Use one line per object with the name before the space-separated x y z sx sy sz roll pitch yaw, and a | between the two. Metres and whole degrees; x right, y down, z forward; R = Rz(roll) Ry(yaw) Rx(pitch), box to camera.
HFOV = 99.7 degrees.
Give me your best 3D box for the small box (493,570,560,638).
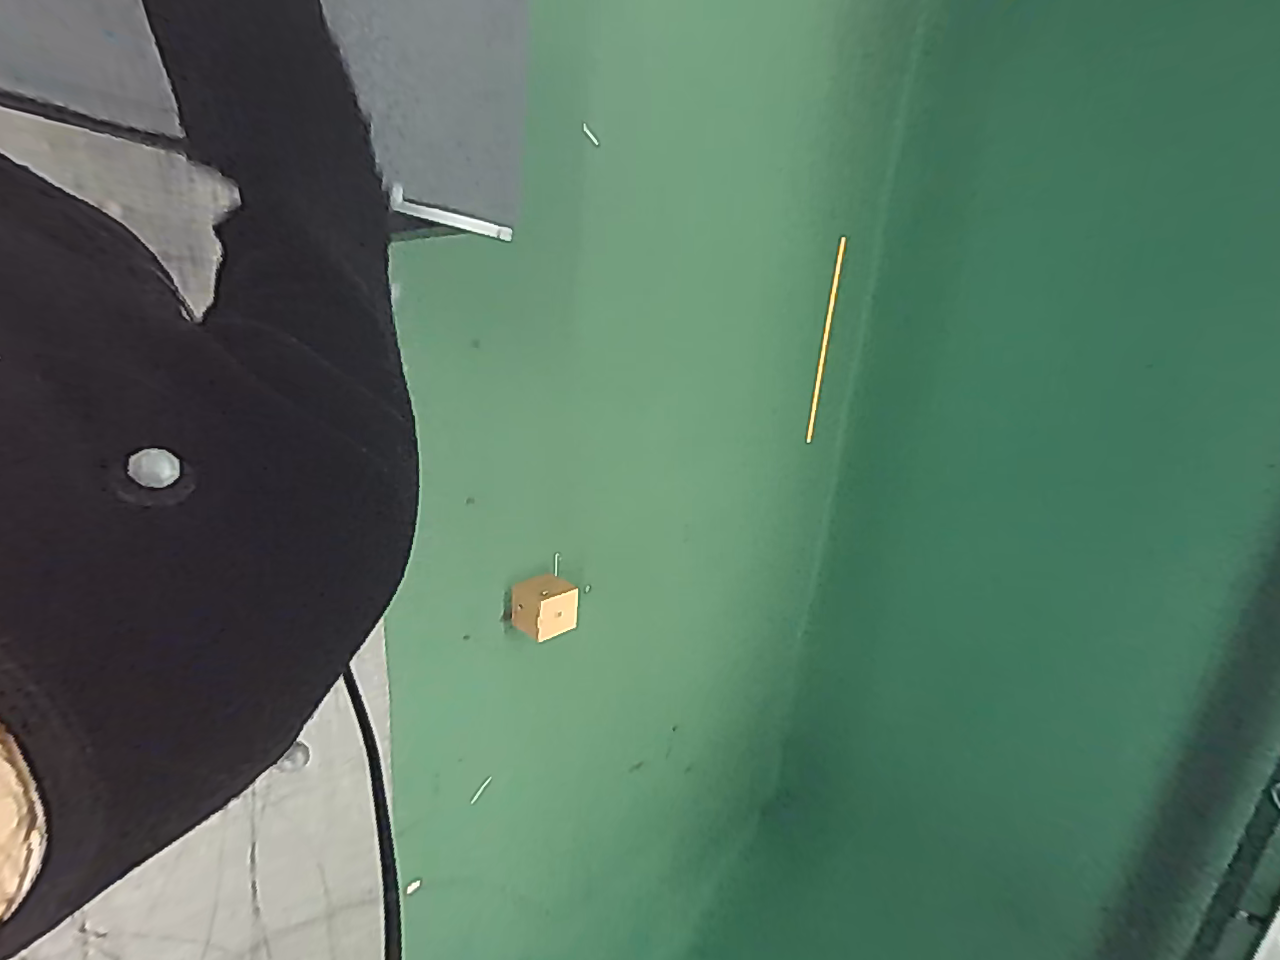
small box | -0.421 0.450 2.003 0.179 0.176 0.168 -11 113 -47
